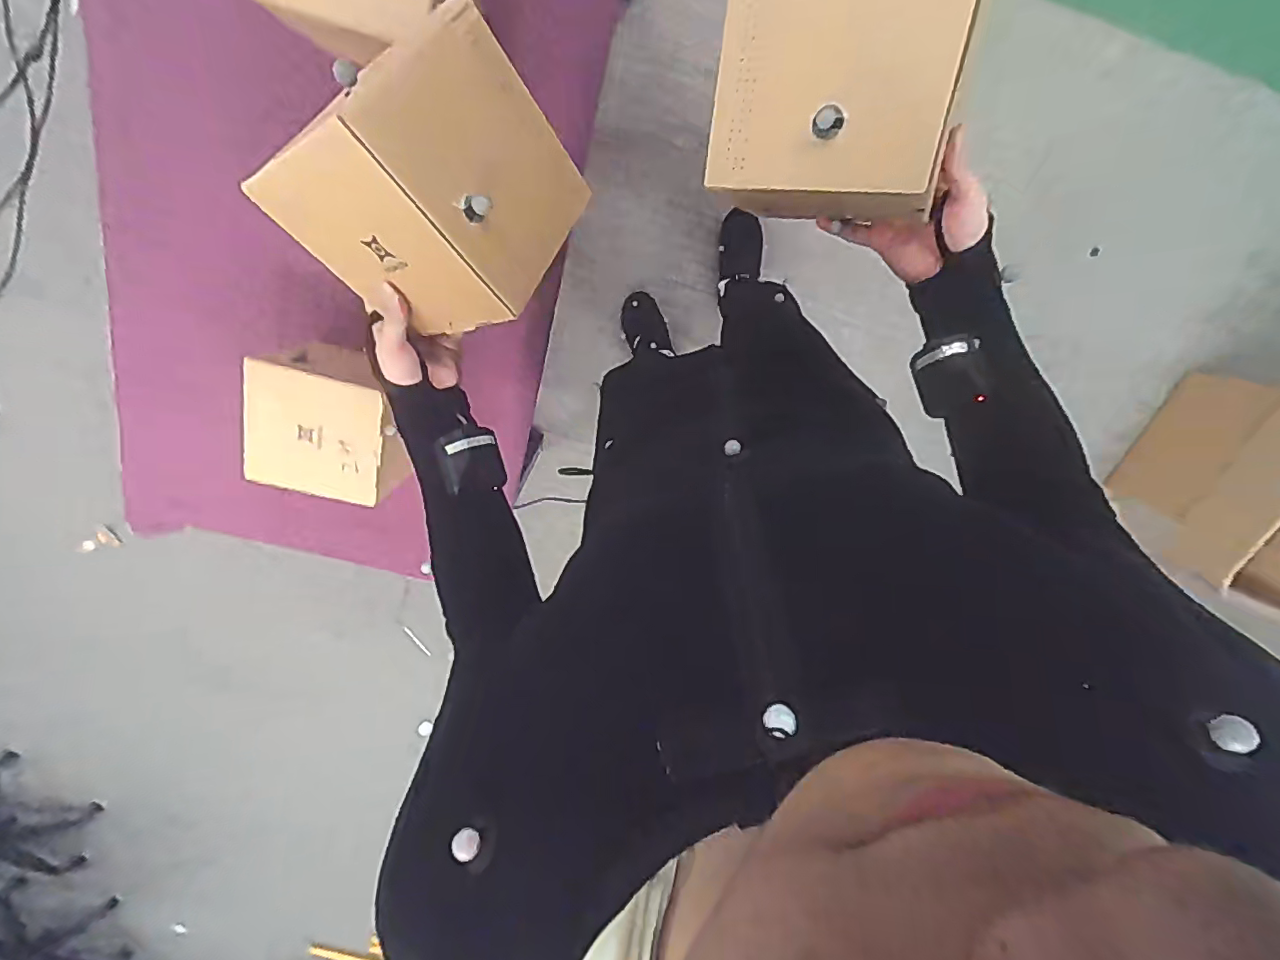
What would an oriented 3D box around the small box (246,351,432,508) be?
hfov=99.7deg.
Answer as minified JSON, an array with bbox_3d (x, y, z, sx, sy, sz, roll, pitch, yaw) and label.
[{"bbox_3d":[-0.424,-0.081,0.781,0.179,0.176,0.168,13,110,-5],"label":"small box"}]
